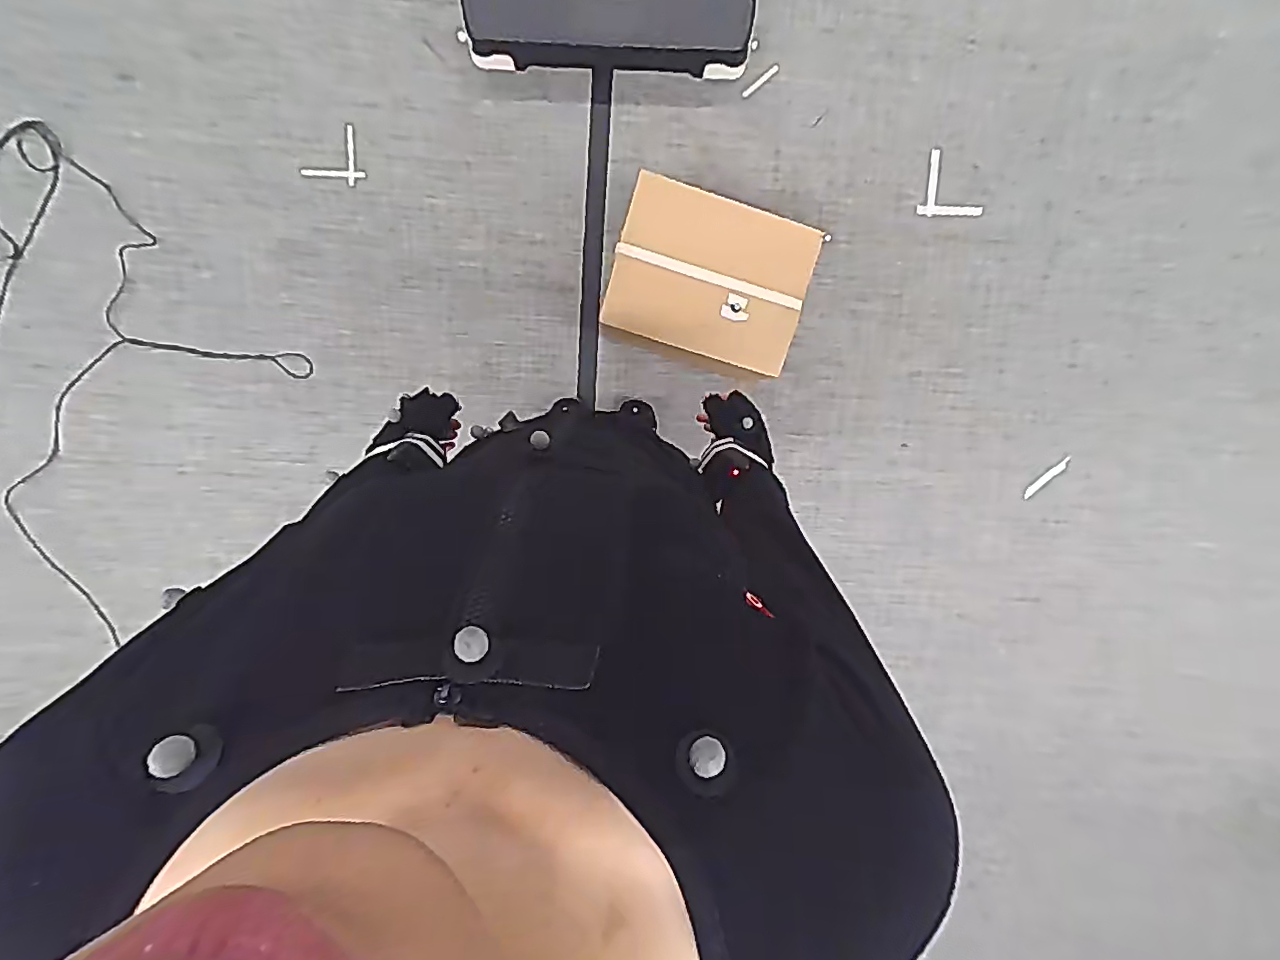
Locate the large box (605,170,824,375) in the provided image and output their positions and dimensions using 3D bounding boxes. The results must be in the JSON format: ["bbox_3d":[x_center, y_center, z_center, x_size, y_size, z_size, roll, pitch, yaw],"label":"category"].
[{"bbox_3d":[0.145,-0.455,1.274,0.408,0.320,0.320,16,99,-6],"label":"large box"}]
